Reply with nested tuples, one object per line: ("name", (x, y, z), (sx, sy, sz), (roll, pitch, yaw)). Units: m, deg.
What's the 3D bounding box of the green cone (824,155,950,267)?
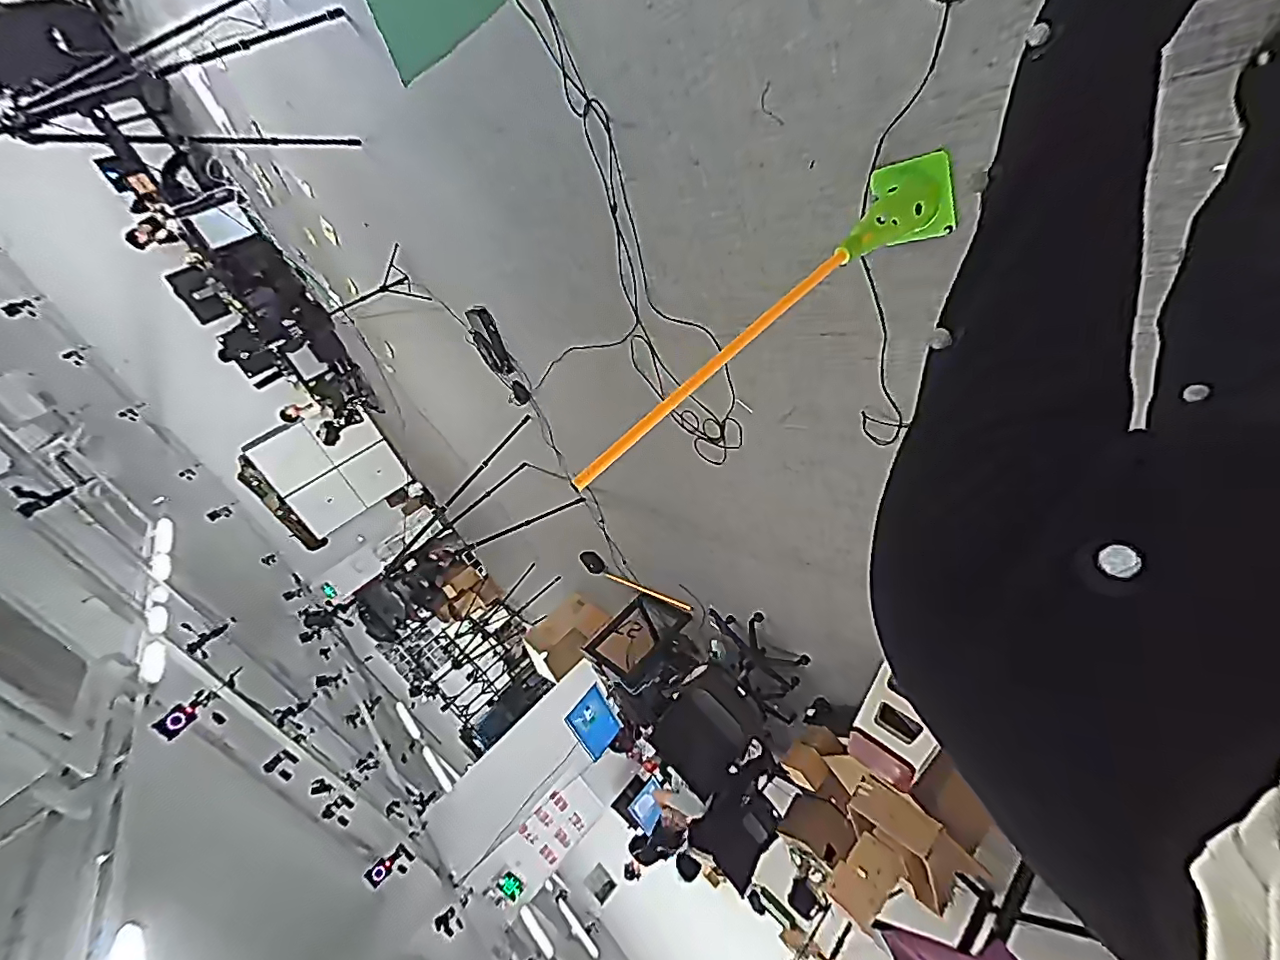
("green cone", (0.582, -0.629, 1.348), (0.202, 0.368, 0.200), (15, 137, 52))
